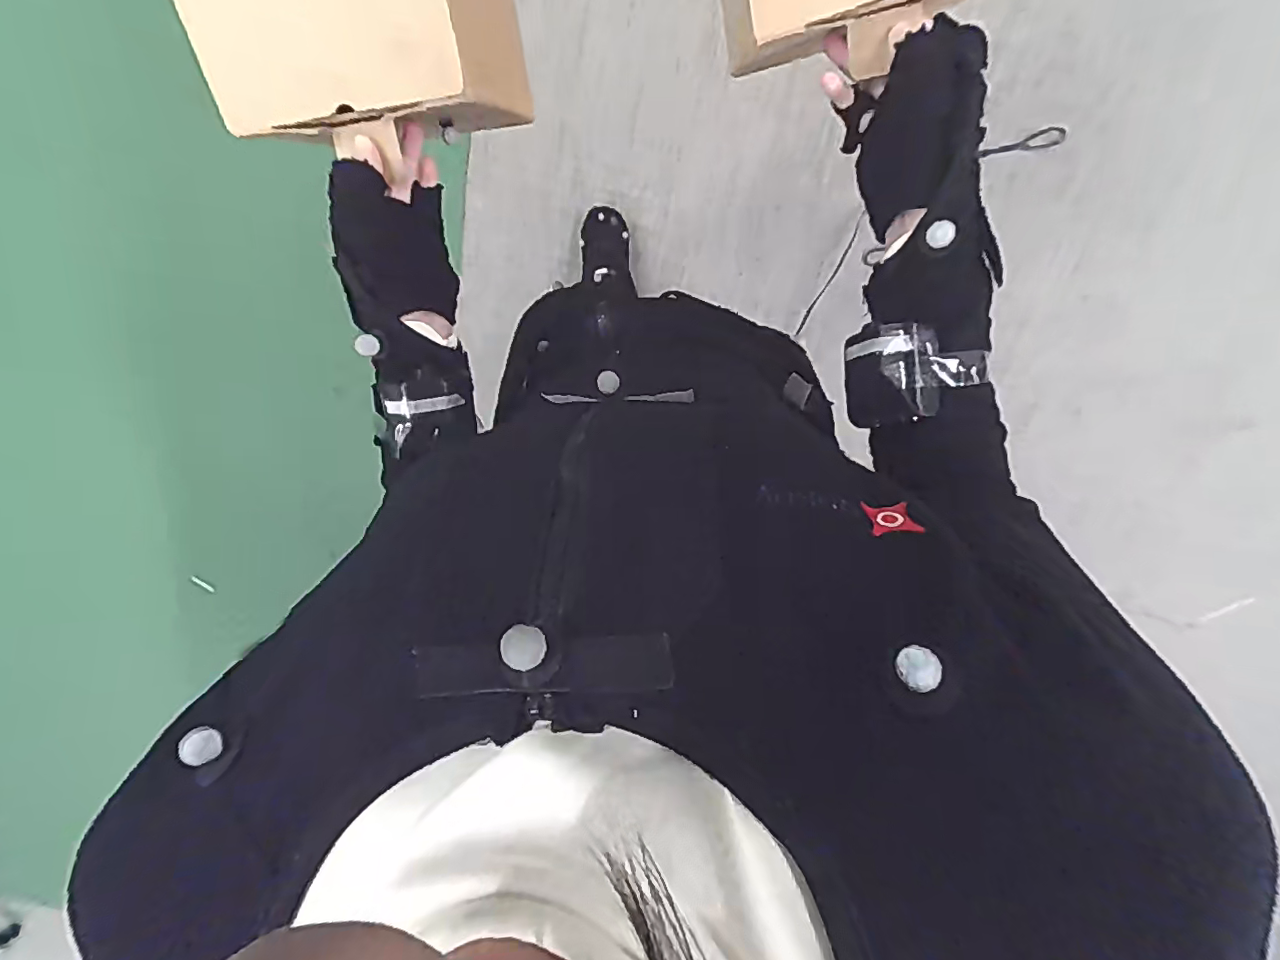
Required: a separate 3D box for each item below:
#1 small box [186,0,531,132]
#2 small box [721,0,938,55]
[{"bbox_3d":[-0.186,-0.351,0.370,0.168,0.176,0.179,-4,118,7],"label":"small box"},{"bbox_3d":[0.134,-0.405,0.350,0.168,0.176,0.179,-9,120,9],"label":"small box"}]
